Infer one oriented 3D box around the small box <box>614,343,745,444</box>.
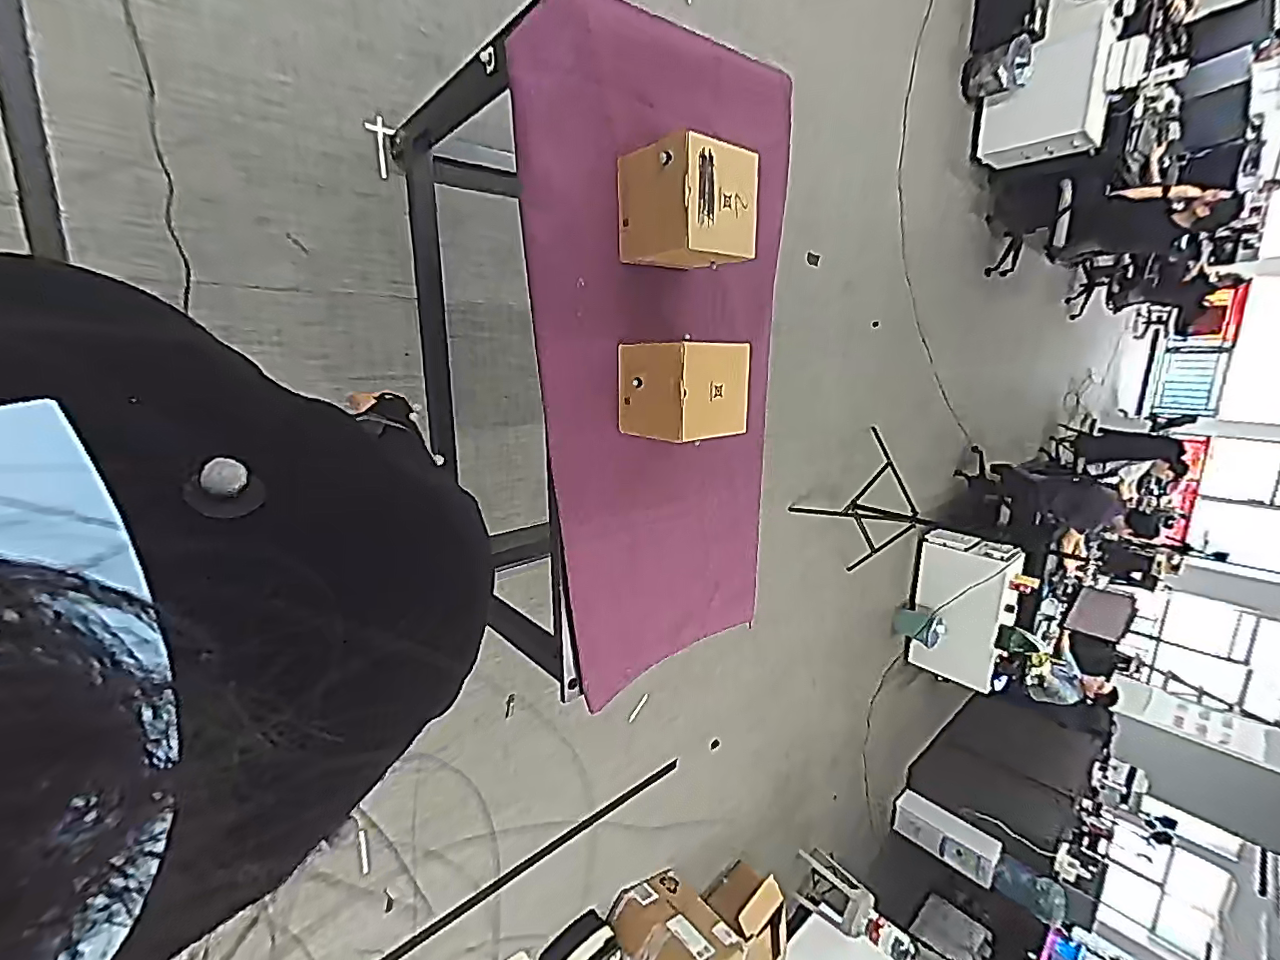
[{"bbox_3d":[0.072,-0.167,1.005,0.179,0.176,0.168,-11,108,-40],"label":"small box"}]
